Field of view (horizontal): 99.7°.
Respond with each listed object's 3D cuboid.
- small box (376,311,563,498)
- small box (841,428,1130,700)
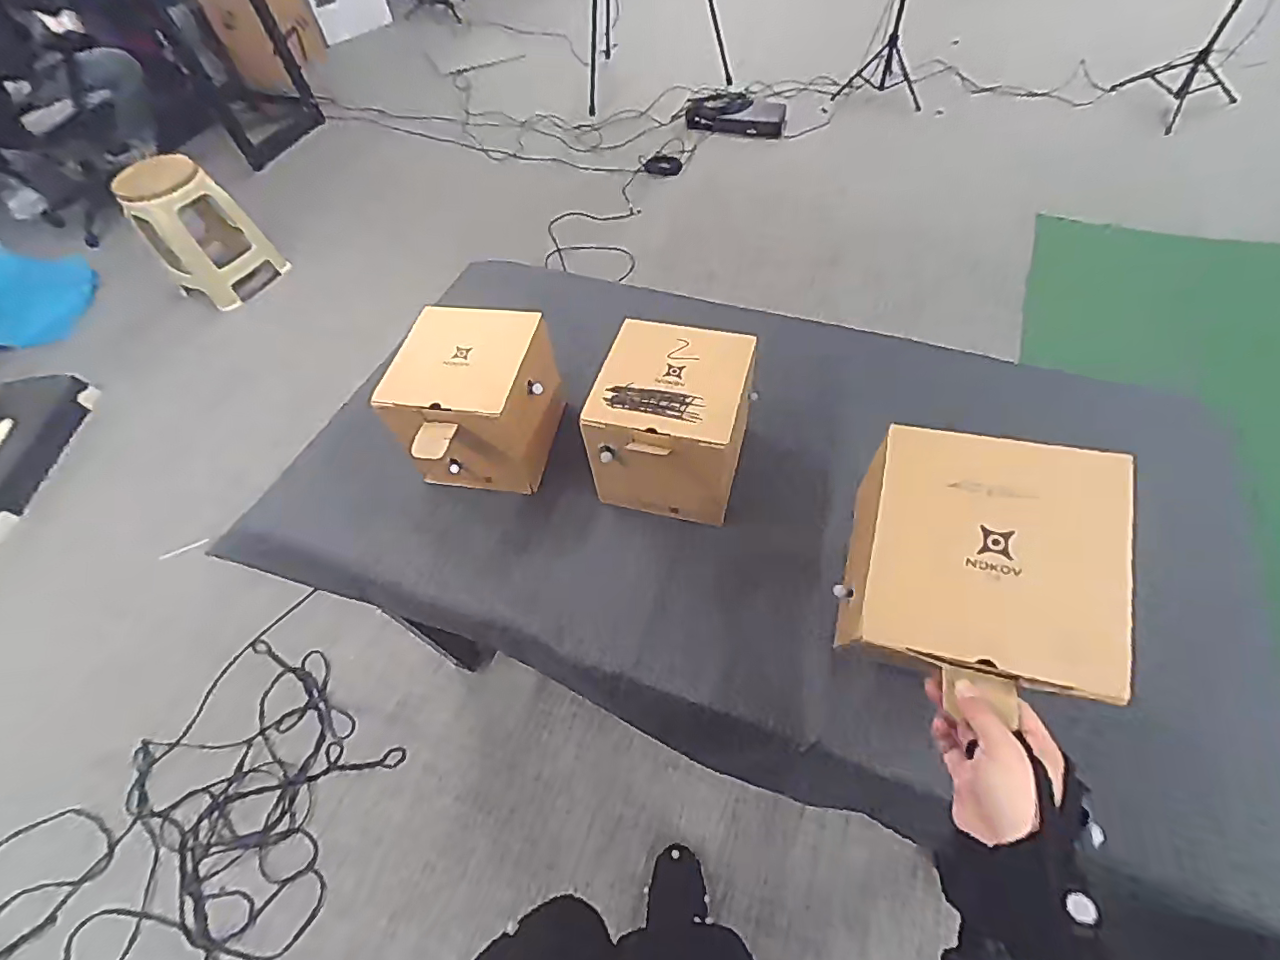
[{"bbox_3d":[-0.210,-0.100,0.728,0.168,0.176,0.179,6,57,9],"label":"small box"},{"bbox_3d":[0.276,0.077,0.467,0.168,0.176,0.179,10,71,17],"label":"small box"}]
